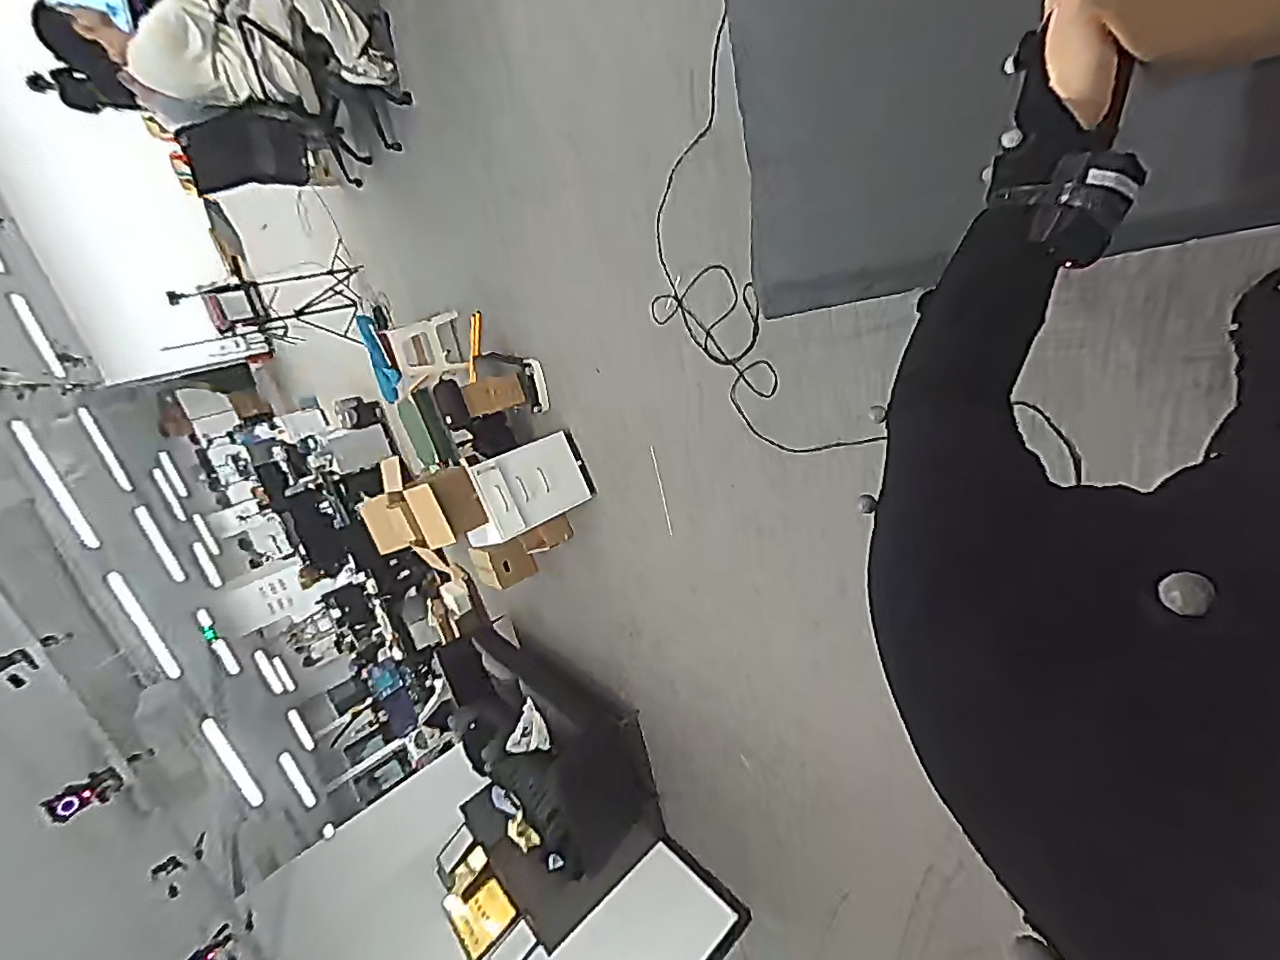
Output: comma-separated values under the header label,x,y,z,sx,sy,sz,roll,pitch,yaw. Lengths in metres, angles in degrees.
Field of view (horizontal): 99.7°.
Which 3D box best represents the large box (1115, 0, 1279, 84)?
label,x,y,z,sx,sy,sz,roll,pitch,yaw
large box,0.415,-0.397,0.152,0.408,0.320,0.320,11,112,48
